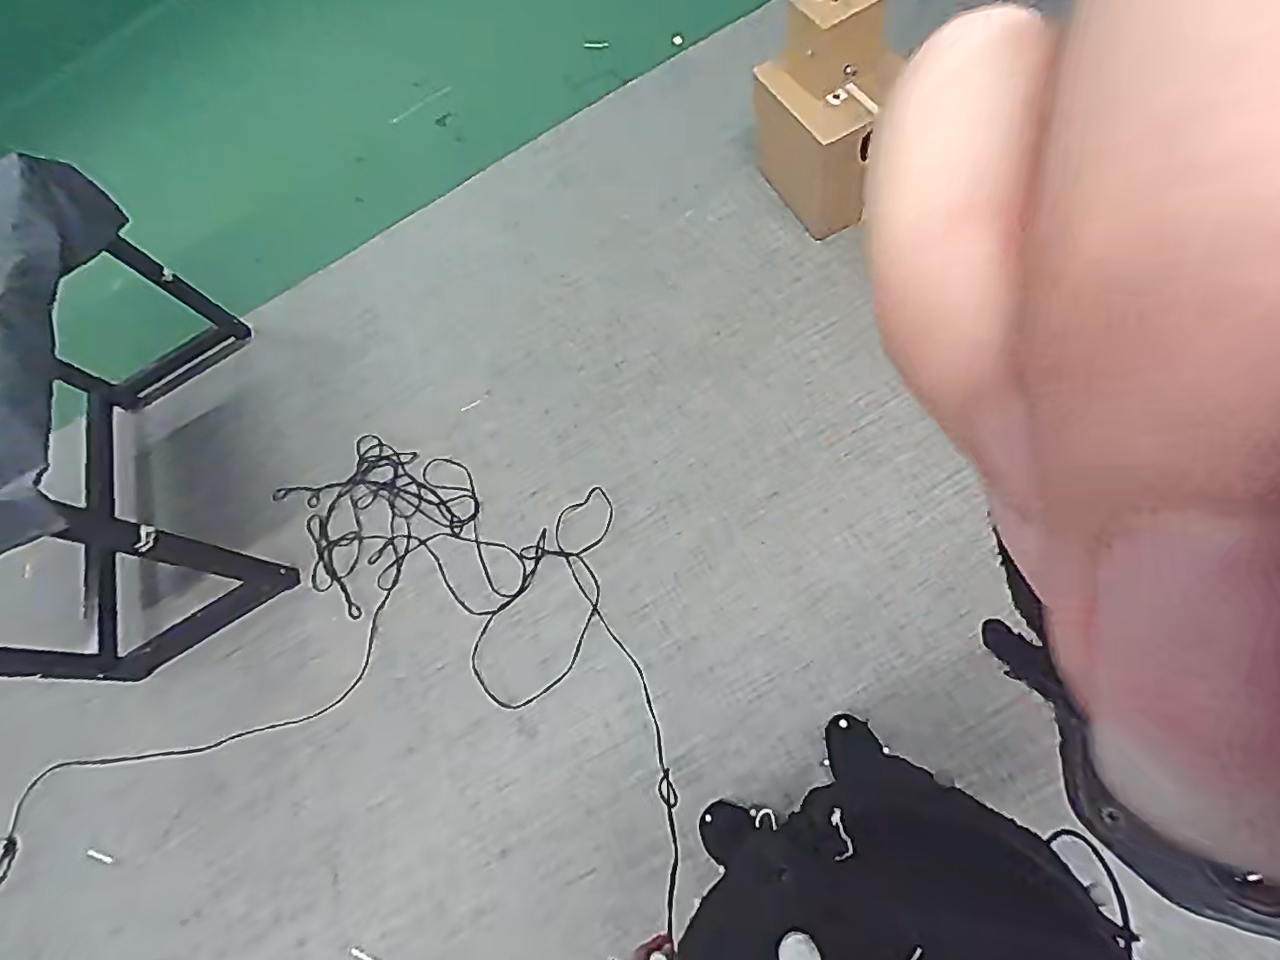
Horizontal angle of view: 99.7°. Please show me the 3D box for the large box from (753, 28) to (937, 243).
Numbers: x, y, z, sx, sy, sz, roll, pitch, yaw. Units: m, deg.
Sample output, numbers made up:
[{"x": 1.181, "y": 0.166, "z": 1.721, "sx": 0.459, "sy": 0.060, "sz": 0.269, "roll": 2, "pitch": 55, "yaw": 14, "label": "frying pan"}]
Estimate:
[{"x": 0.560, "y": -0.988, "z": 1.570, "sx": 0.320, "sy": 0.320, "sz": 0.408, "roll": -27, "pitch": 65, "yaw": 3, "label": "large box"}]
